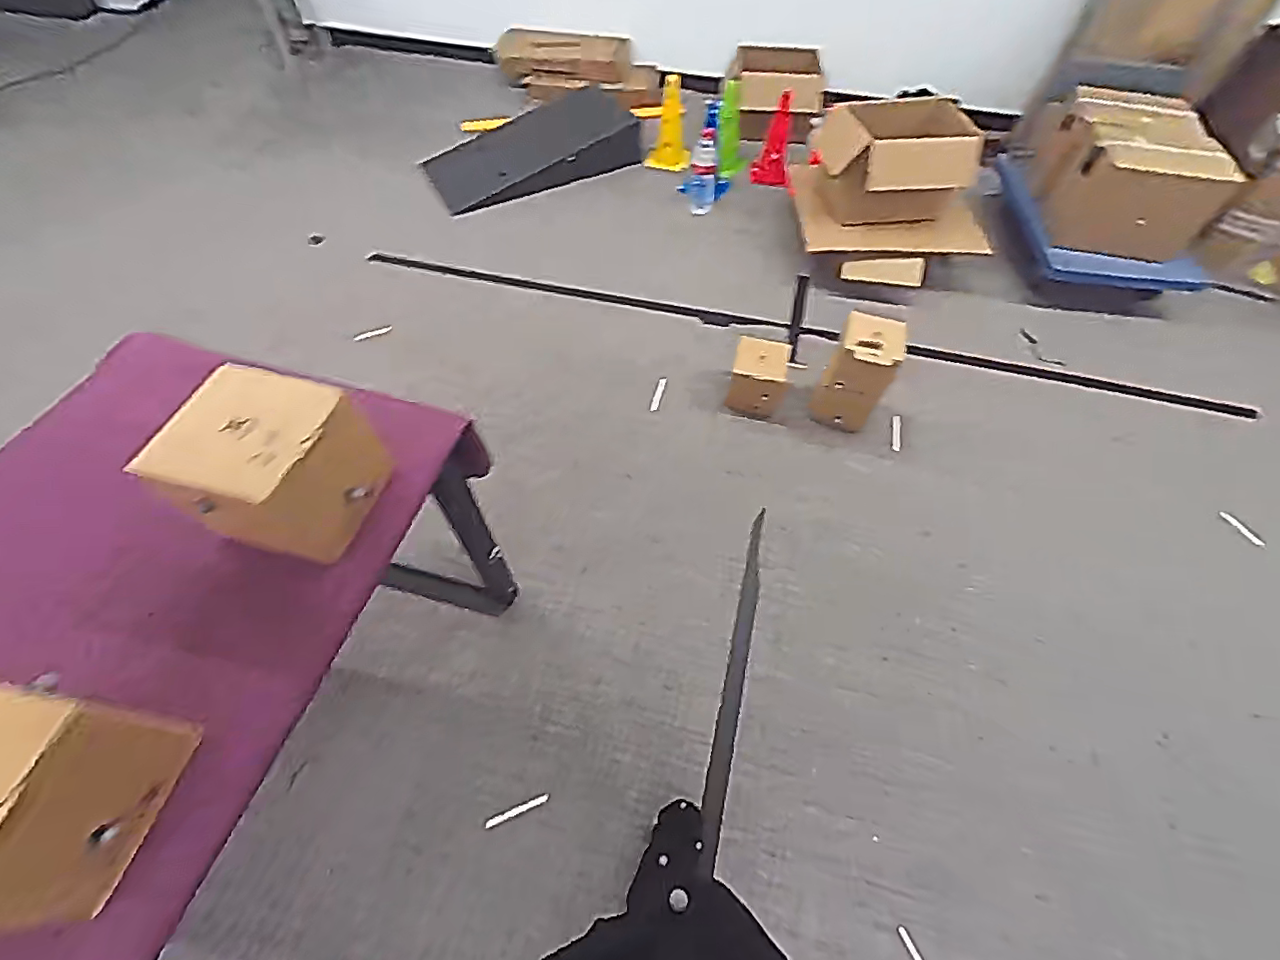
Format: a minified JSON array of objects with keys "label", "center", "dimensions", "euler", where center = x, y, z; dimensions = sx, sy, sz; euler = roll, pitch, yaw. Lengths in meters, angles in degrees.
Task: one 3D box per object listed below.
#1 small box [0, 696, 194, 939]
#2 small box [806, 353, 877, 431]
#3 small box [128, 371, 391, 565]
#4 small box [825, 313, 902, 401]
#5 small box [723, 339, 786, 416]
[{"label":"small box","center":[-0.576,0.296,0.487],"dimensions":[0.179,0.176,0.168],"euler":[10,57,4]},{"label":"small box","center":[0.664,-0.283,1.773],"dimensions":[0.179,0.176,0.168],"euler":[17,58,8]},{"label":"small box","center":[-0.458,-0.009,0.687],"dimensions":[0.179,0.176,0.168],"euler":[13,59,7]},{"label":"small box","center":[0.670,-0.367,1.631],"dimensions":[0.168,0.176,0.179],"euler":[16,57,8]},{"label":"small box","center":[0.379,-0.337,1.800],"dimensions":[0.168,0.176,0.179],"euler":[12,56,5]}]
